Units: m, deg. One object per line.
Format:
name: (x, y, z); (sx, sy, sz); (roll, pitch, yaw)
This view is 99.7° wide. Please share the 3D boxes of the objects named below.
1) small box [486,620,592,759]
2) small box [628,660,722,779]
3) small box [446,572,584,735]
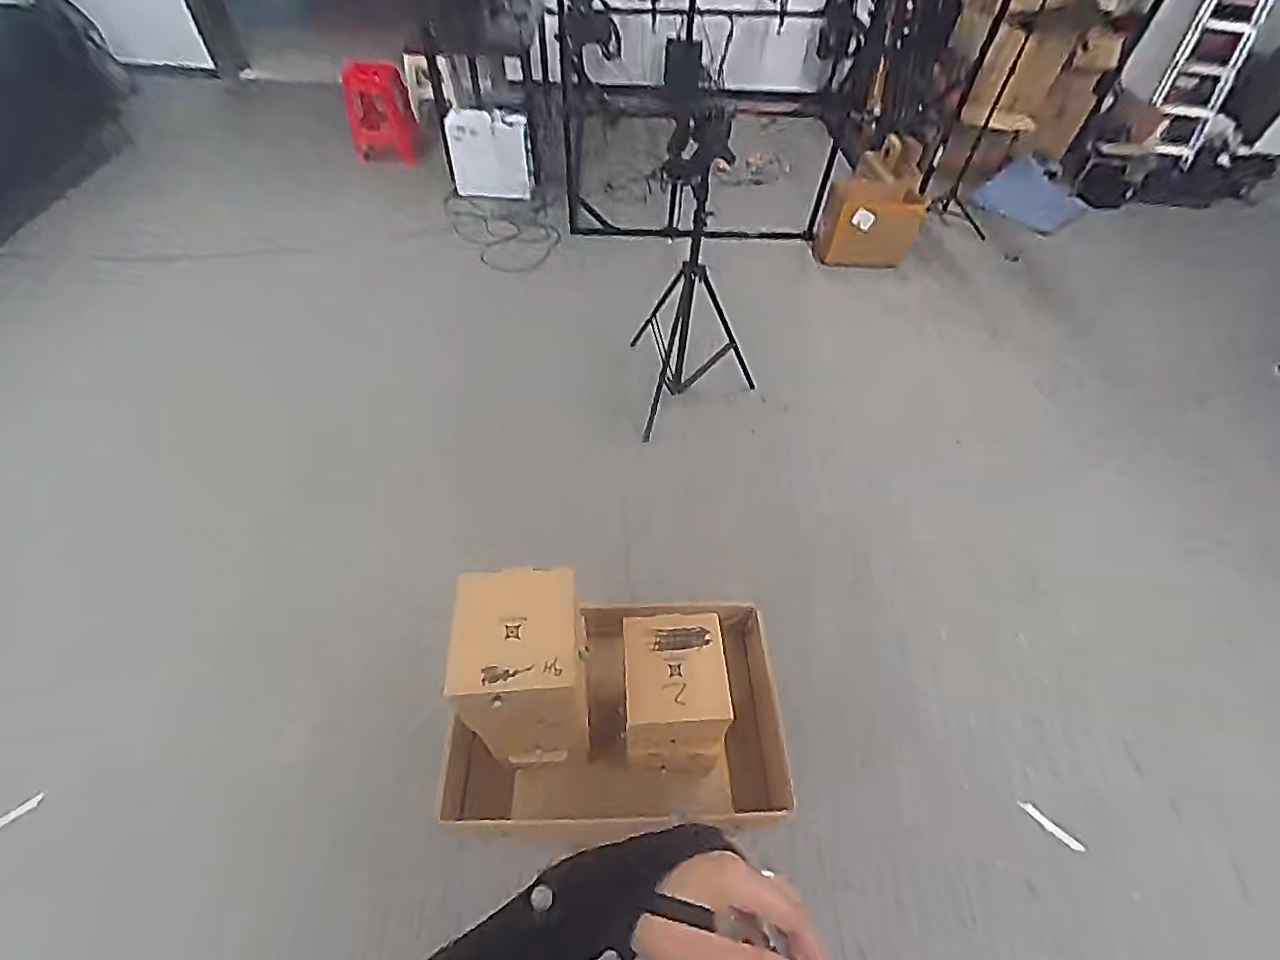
small box: (-0.169, 0.358, 0.922); (0.168, 0.176, 0.179); (-2, 52, -4)
small box: (0.062, 0.468, 1.056); (0.168, 0.176, 0.179); (1, 52, 0)
small box: (-0.171, 0.254, 0.794); (0.168, 0.176, 0.179); (-2, 50, -4)
